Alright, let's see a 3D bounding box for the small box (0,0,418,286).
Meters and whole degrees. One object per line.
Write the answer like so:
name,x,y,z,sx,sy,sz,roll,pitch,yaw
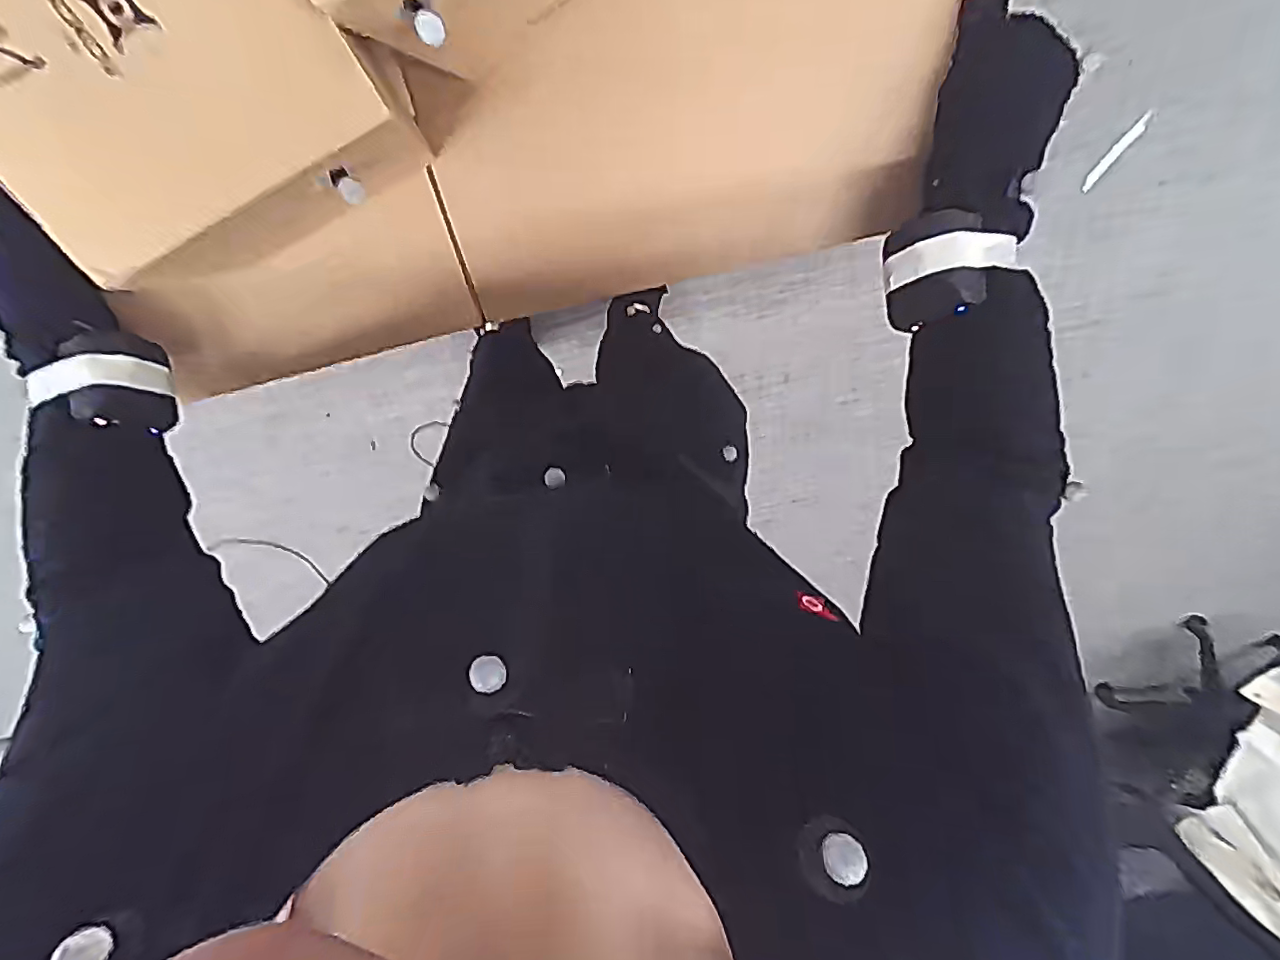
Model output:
small box,-0.248,-0.233,0.304,0.179,0.176,0.168,-29,117,2
